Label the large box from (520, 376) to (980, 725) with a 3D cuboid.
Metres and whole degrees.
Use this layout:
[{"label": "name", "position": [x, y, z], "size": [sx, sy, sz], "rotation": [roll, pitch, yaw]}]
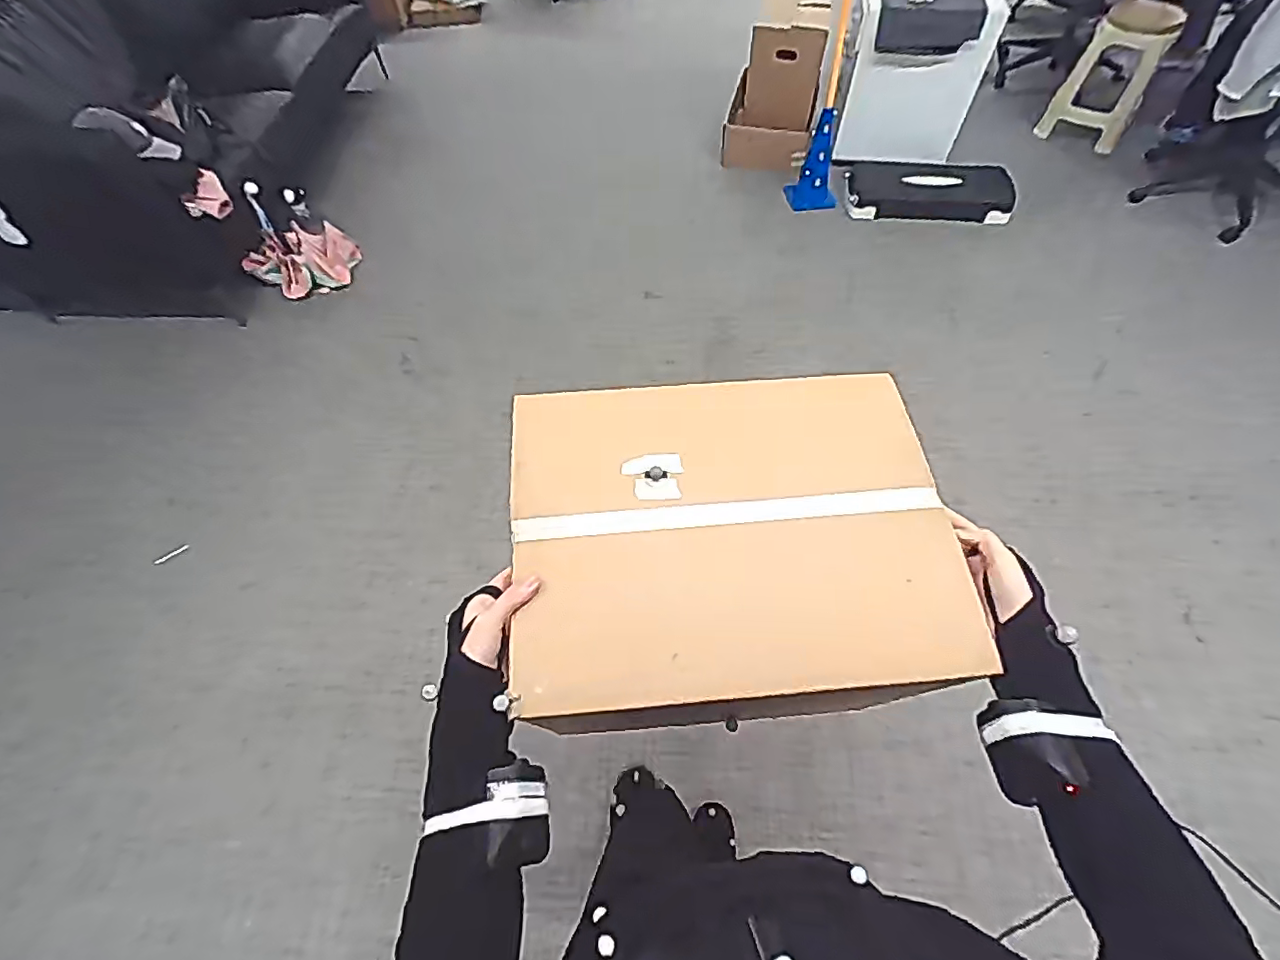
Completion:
[{"label": "large box", "position": [0.087, 0.105, 0.656], "size": [0.408, 0.320, 0.320], "rotation": [-5, 62, -2]}]
